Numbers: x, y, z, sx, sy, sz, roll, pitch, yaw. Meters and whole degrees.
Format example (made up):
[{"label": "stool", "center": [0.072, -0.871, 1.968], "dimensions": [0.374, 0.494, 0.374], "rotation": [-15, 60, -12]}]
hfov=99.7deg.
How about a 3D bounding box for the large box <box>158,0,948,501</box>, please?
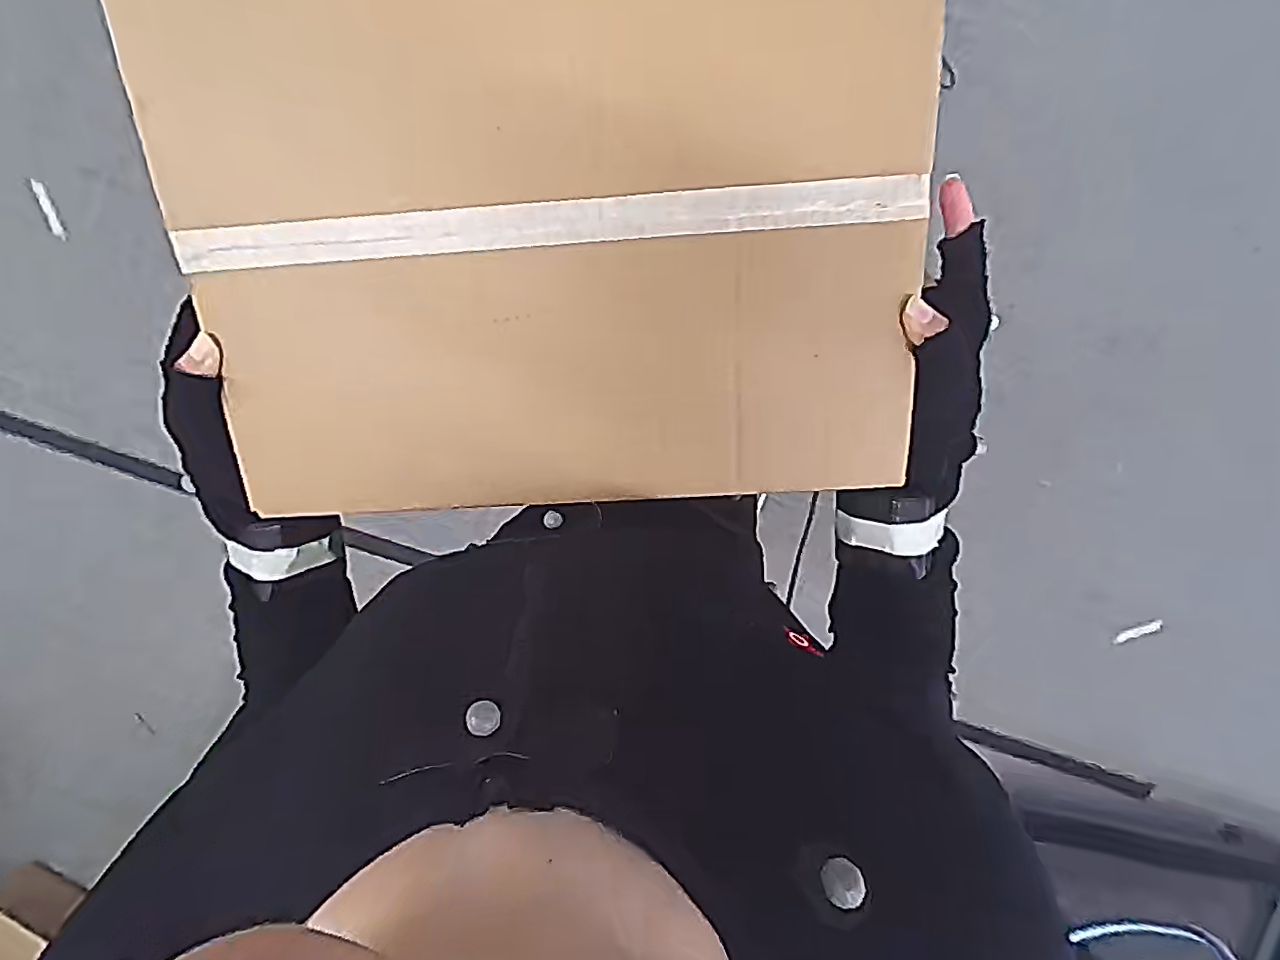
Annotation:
[{"label": "large box", "center": [-0.040, -0.183, 0.442], "dimensions": [0.408, 0.320, 0.320], "rotation": [-2, 108, 2]}]
